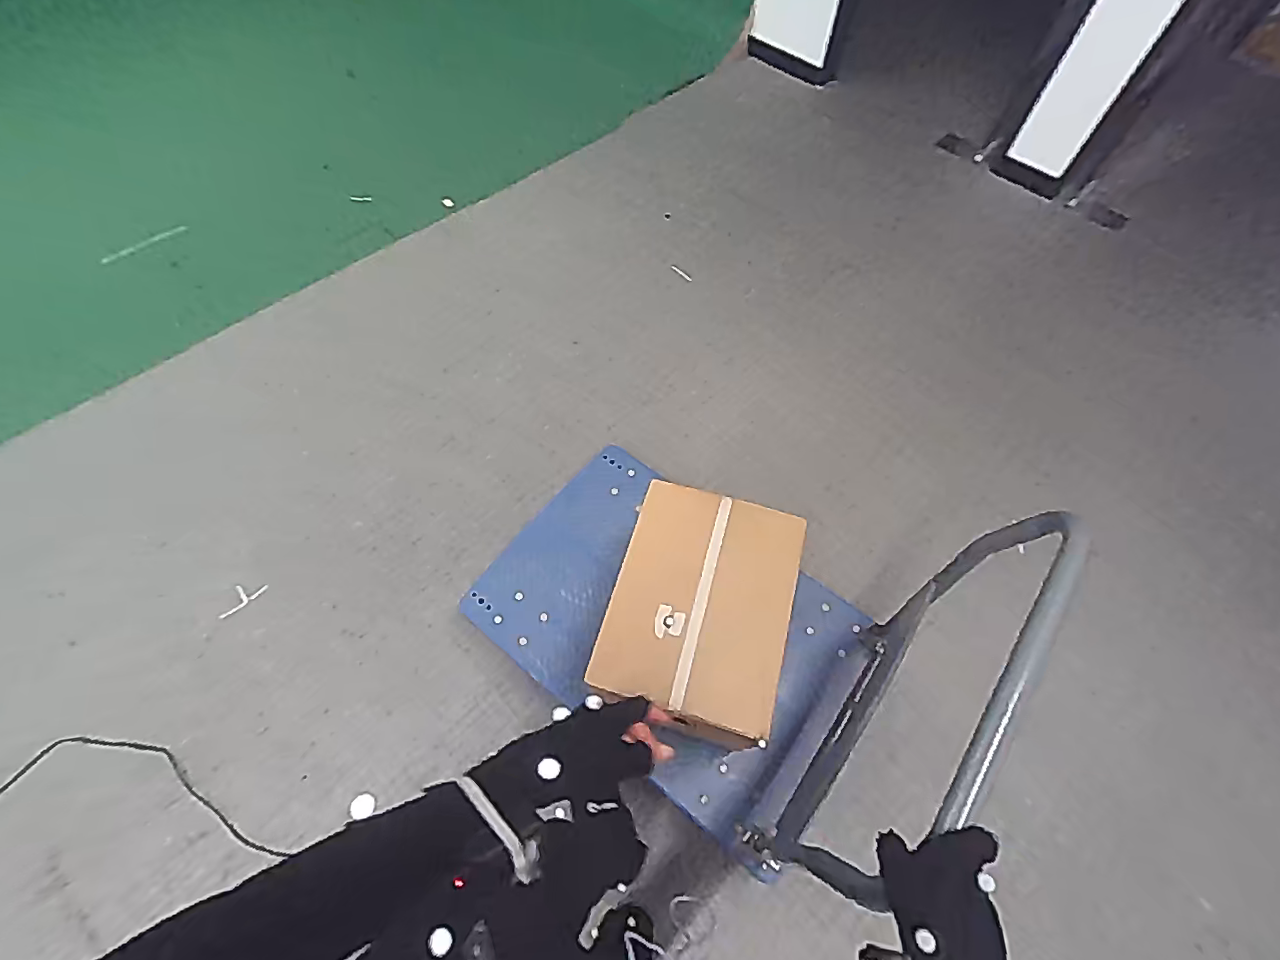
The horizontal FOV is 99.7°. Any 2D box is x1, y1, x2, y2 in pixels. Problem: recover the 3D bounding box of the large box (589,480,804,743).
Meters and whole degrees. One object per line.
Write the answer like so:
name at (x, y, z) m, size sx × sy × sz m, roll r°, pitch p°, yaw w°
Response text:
large box at (0.112, 0.273, 1.099) m, size 0.320 × 0.320 × 0.408 m, roll 15°, pitch 63°, yaw 8°
